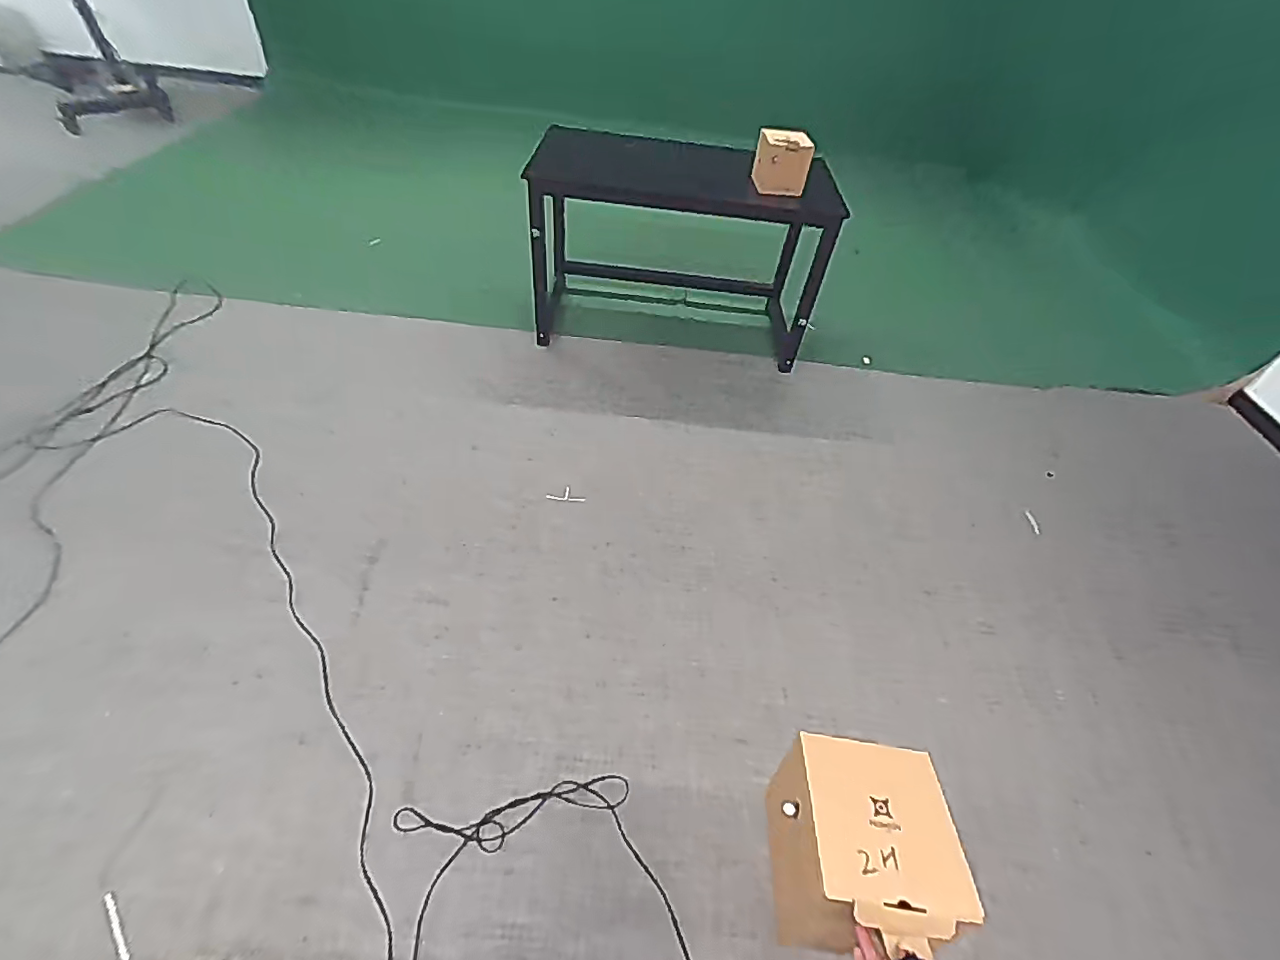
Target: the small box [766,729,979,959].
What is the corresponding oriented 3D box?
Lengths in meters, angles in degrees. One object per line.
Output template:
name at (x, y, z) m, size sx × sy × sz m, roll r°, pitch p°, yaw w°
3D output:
small box at (0.258, 0.440, 0.657) m, size 0.168 × 0.176 × 0.179 m, roll 9°, pitch 36°, yaw 0°
